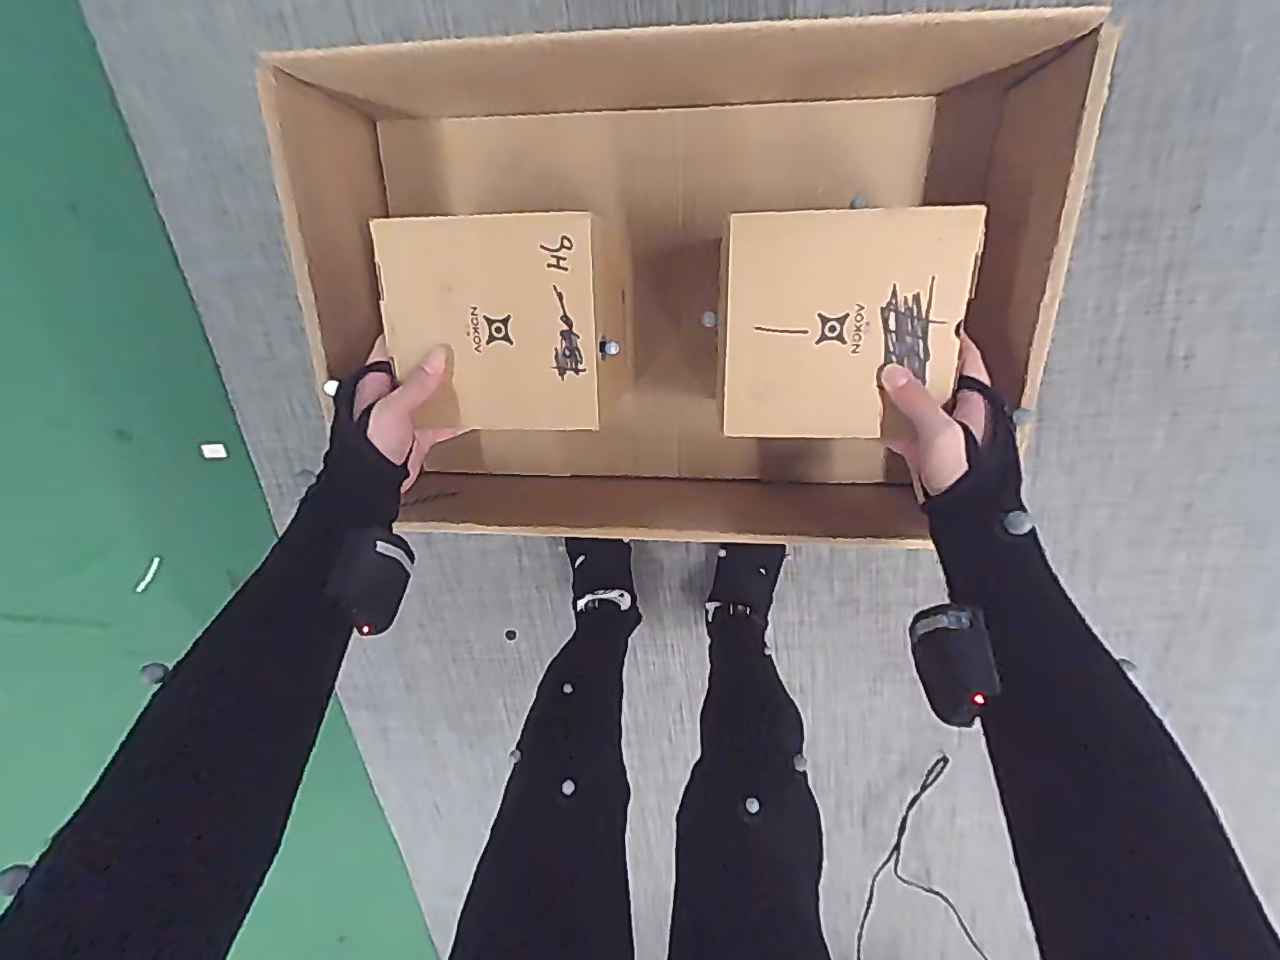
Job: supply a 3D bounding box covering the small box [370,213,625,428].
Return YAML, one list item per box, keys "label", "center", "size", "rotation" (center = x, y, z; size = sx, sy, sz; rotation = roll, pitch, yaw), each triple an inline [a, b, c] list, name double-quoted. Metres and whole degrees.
- label: "small box"
  center: [-0.115, -0.148, 0.511]
  size: [0.179, 0.176, 0.168]
  rotation: [2, 109, 8]
